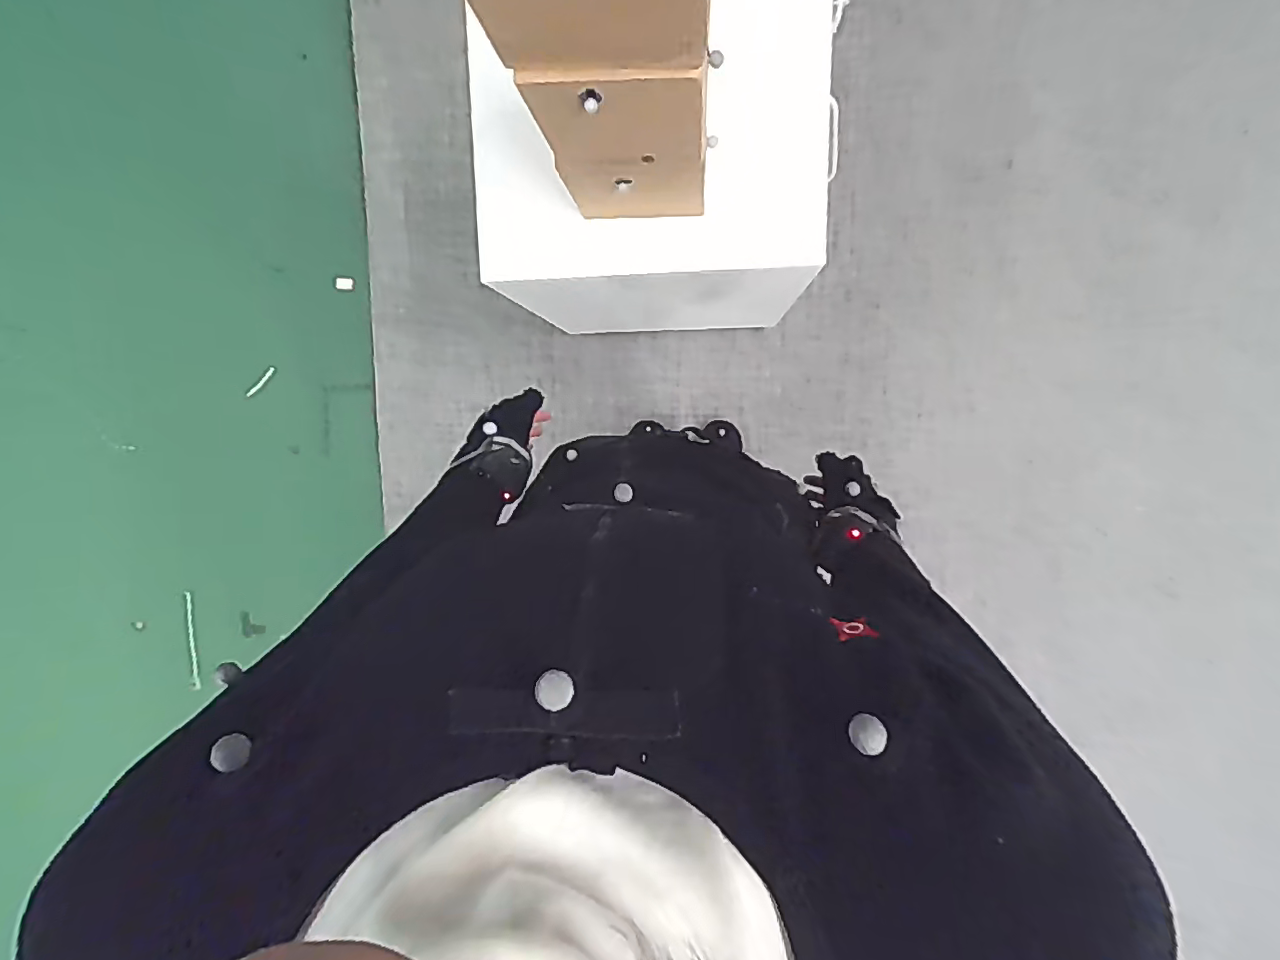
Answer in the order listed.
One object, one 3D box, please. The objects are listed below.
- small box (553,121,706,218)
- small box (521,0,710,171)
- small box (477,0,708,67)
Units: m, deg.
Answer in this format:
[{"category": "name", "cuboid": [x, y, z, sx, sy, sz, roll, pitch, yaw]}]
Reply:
[{"category": "small box", "cuboid": [-0.005, -0.452, 0.696, 0.179, 0.176, 0.168, 2, 97, 6]}, {"category": "small box", "cuboid": [-0.017, -0.437, 0.537, 0.168, 0.176, 0.179, 0, 97, 5]}, {"category": "small box", "cuboid": [-0.037, -0.422, 0.374, 0.179, 0.176, 0.168, 4, 99, 5]}]
